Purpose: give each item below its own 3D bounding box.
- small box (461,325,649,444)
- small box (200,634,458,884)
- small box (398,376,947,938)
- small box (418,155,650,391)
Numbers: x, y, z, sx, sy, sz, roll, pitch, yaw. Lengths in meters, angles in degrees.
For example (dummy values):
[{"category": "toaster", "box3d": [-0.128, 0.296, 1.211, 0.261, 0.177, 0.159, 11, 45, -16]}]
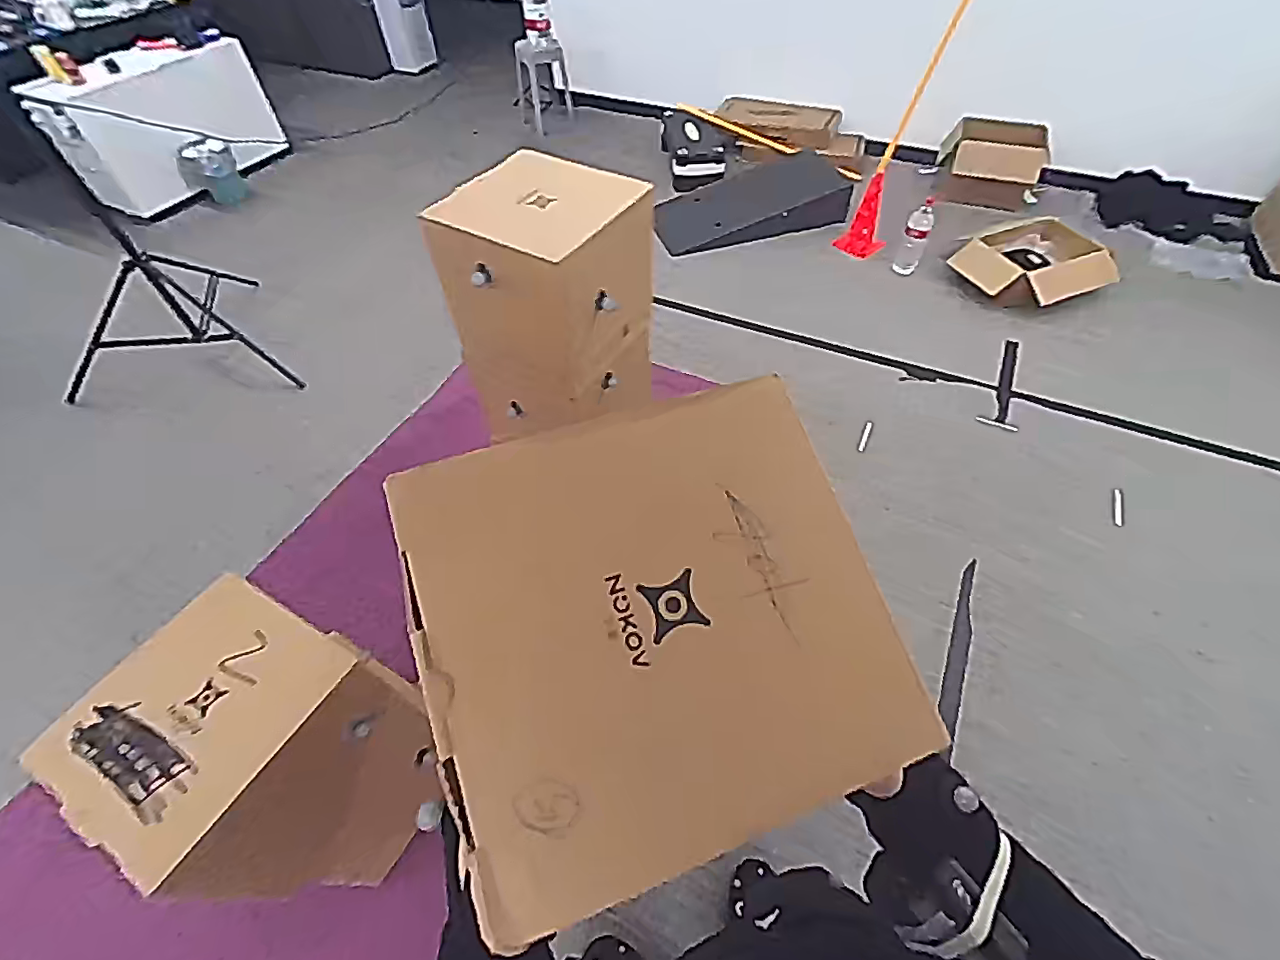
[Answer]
[{"category": "small box", "box3d": [-0.102, -0.126, 0.732, 0.179, 0.176, 0.168, 25, 58, 20]}, {"category": "small box", "box3d": [-0.317, 0.313, 0.608, 0.168, 0.176, 0.179, 24, 57, 20]}, {"category": "small box", "box3d": [0.002, 0.074, 0.282, 0.179, 0.176, 0.168, -16, 75, -12]}, {"category": "small box", "box3d": [-0.100, -0.223, 0.601, 0.179, 0.176, 0.168, 25, 58, 20]}]
